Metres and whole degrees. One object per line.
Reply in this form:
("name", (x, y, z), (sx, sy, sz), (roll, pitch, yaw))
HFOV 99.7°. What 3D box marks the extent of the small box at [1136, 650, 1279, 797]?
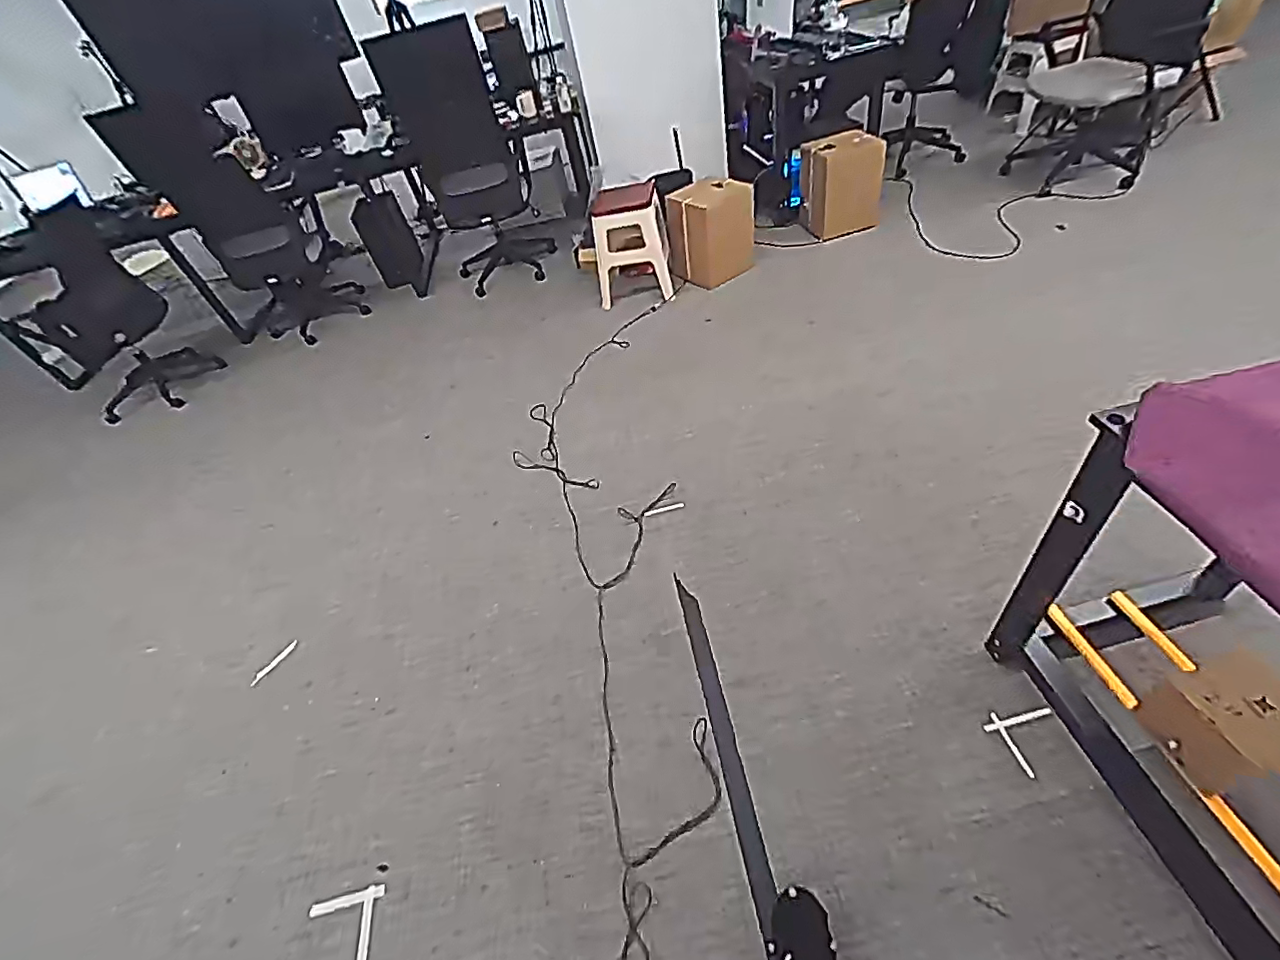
("small box", (1.060, 0.437, 0.965), (0.179, 0.176, 0.168), (-19, 45, 0))
